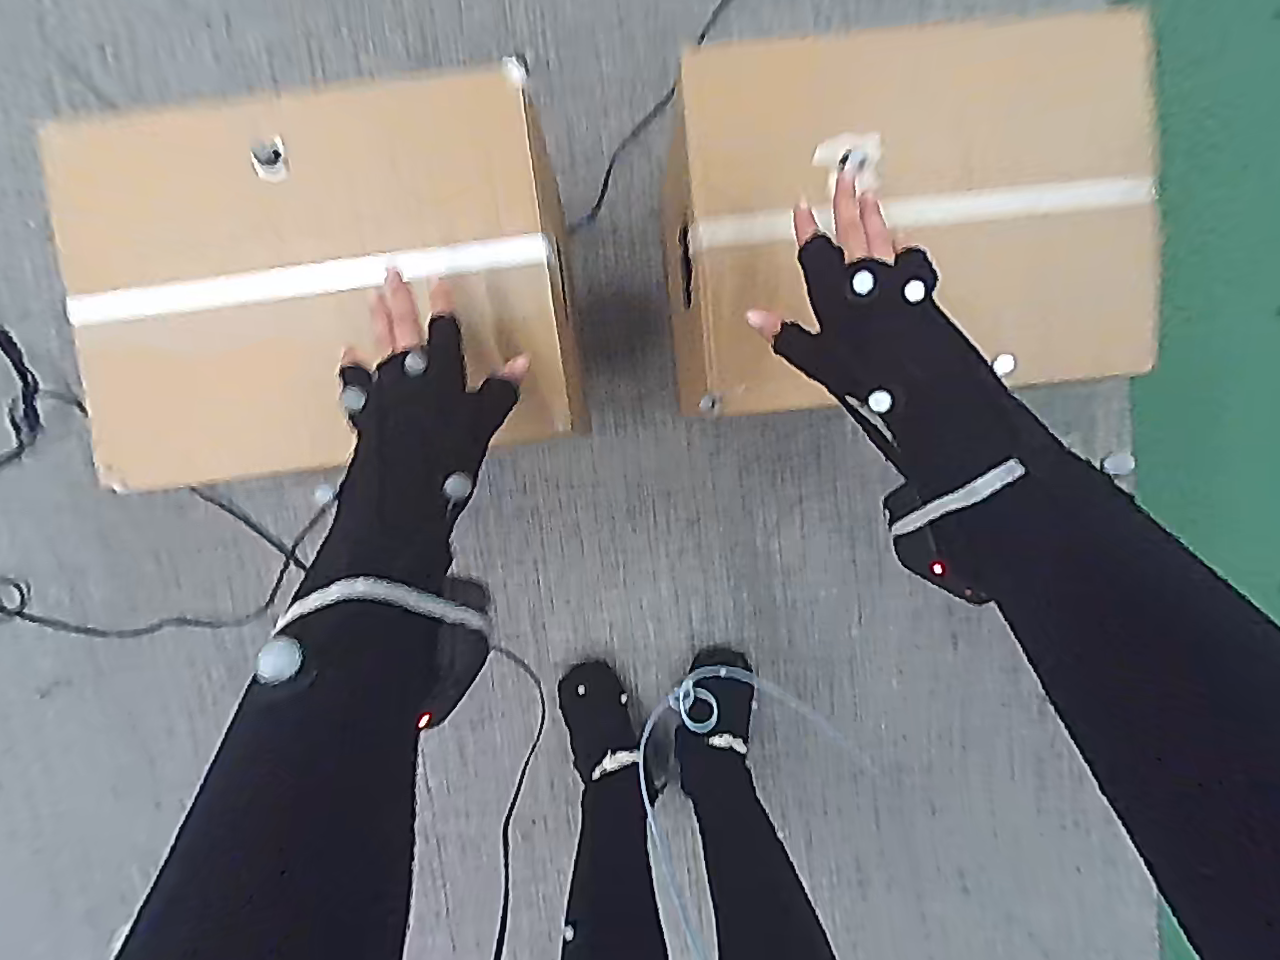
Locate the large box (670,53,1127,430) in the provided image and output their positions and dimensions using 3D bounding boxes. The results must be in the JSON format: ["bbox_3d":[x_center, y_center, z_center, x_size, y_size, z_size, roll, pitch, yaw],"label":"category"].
[{"bbox_3d":[0.256,-0.232,0.653,0.408,0.320,0.320,-5,94,0],"label":"large box"}]
